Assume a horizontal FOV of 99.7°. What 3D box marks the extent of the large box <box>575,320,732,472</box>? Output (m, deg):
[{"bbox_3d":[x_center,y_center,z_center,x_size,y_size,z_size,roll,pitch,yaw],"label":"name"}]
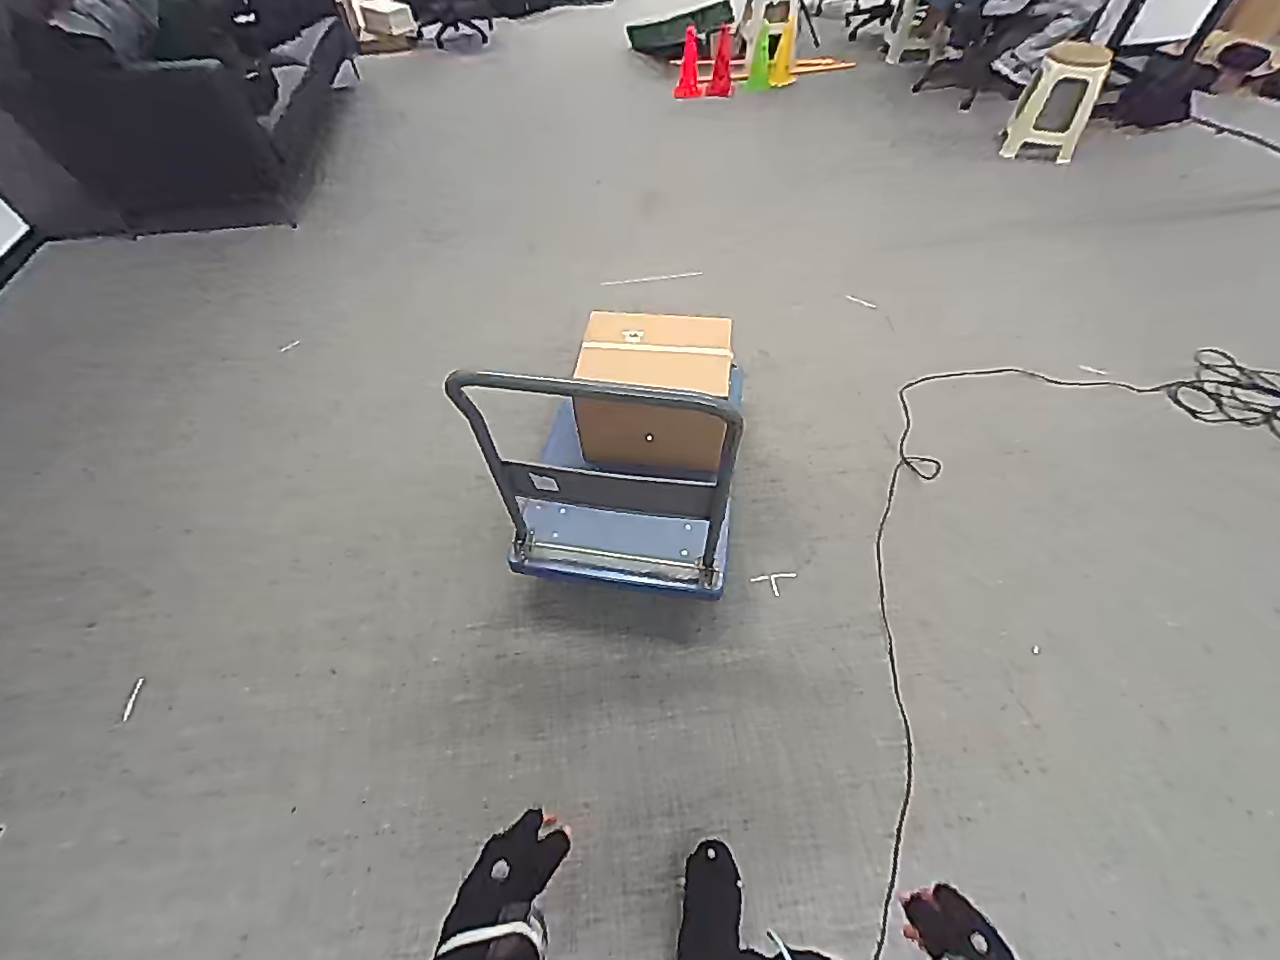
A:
[{"bbox_3d":[0.054,-0.242,1.581,0.408,0.320,0.320,5,53,7],"label":"large box"}]
